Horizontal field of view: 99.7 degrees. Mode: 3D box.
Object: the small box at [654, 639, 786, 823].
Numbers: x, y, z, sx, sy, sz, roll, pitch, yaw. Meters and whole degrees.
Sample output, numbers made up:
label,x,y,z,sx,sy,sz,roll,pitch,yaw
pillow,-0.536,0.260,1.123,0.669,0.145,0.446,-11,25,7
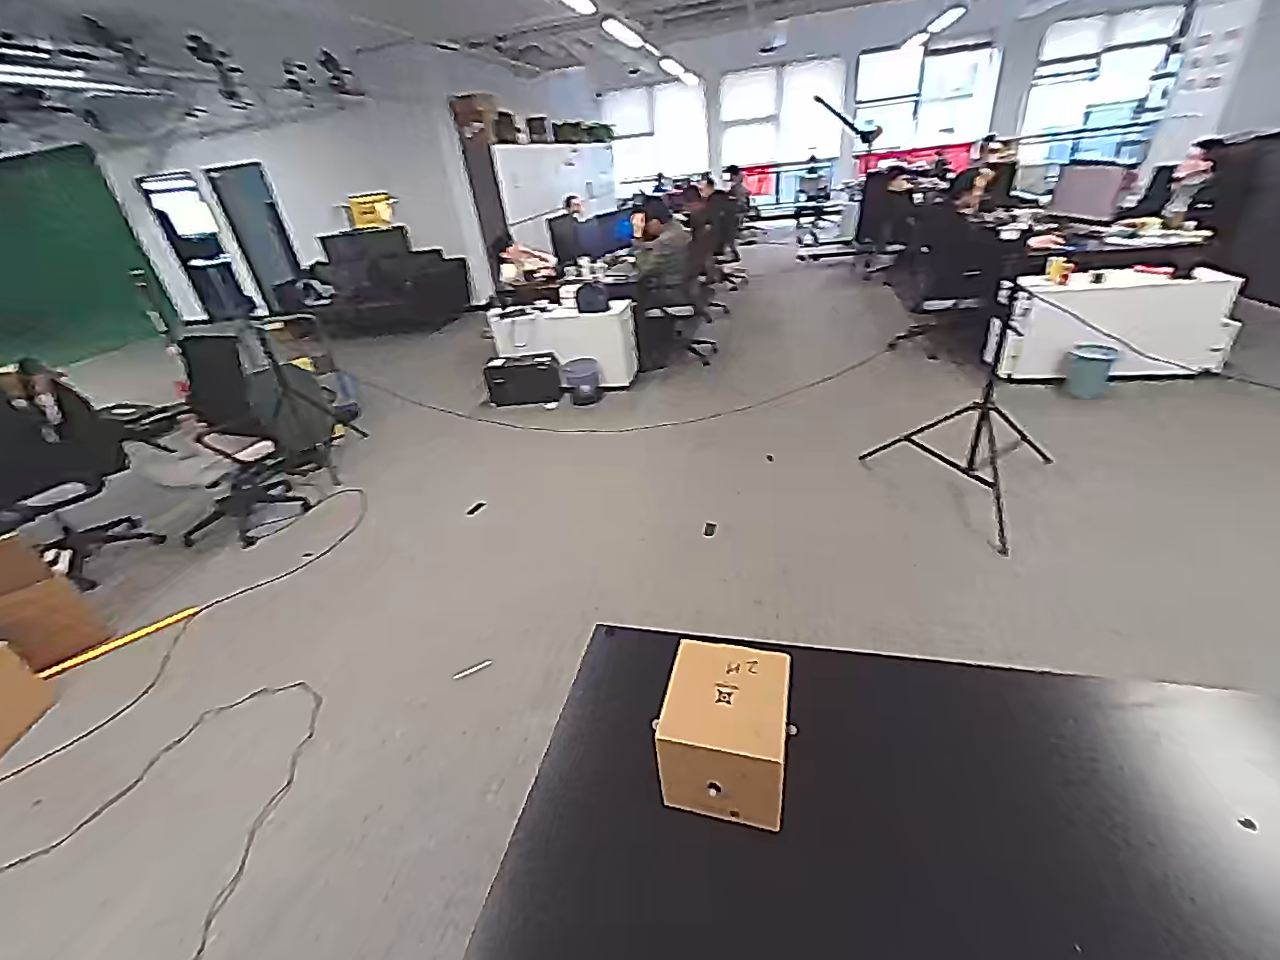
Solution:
label,x,y,z,sx,sy,sz,roll,pitch,yaw
small box,0.128,0.367,0.801,0.168,0.176,0.179,3,32,17
